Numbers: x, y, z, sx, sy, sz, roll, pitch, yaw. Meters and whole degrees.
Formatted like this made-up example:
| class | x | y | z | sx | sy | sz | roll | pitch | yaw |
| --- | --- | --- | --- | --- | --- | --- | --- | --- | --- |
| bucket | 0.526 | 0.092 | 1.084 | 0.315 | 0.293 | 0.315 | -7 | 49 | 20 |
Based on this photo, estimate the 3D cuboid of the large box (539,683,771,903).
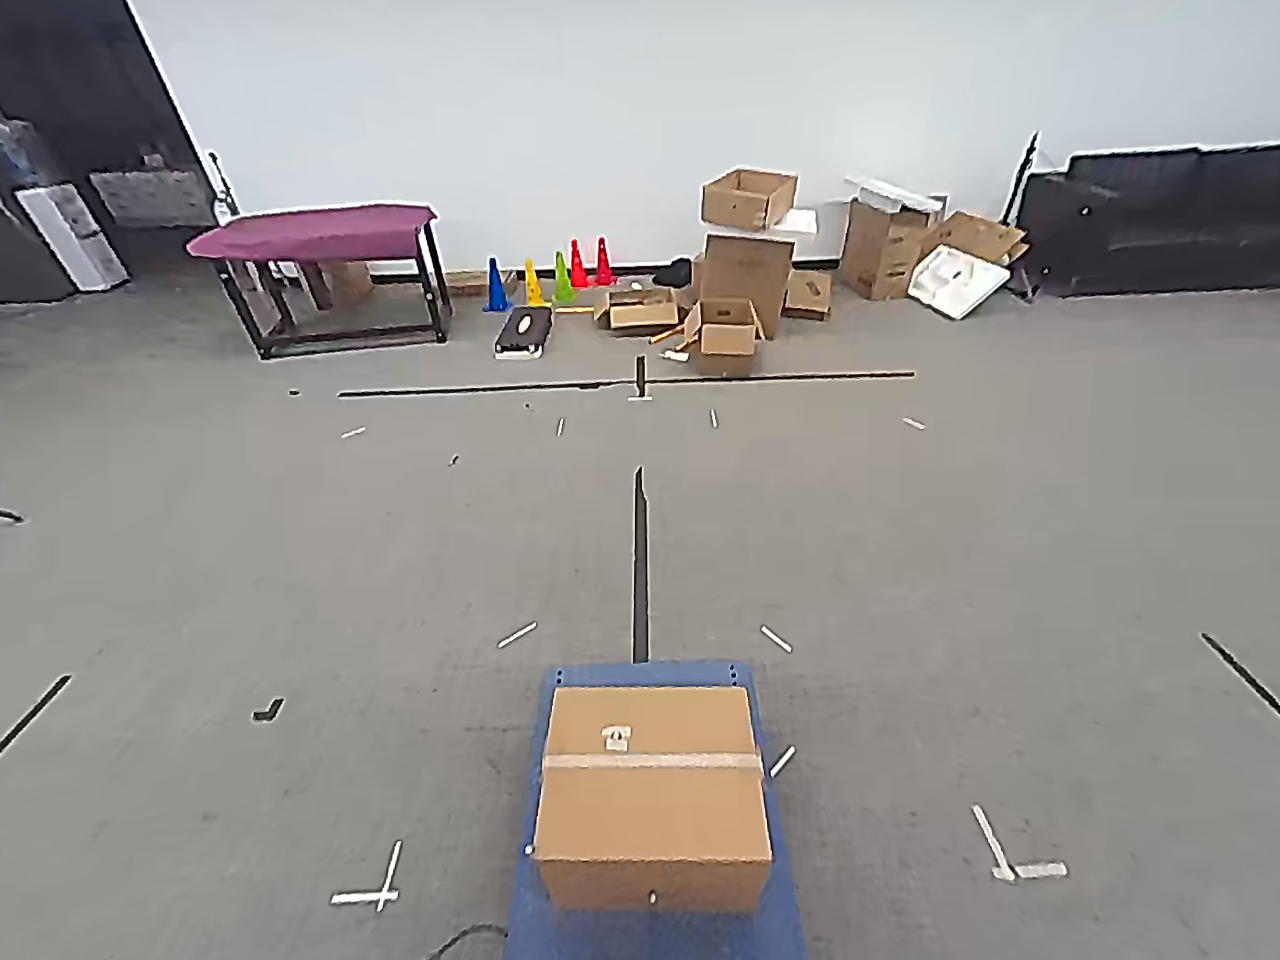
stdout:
| class | x | y | z | sx | sy | sz | roll | pitch | yaw |
| --- | --- | --- | --- | --- | --- | --- | --- | --- | --- |
| large box | 0.031 | 0.651 | 1.126 | 0.408 | 0.320 | 0.320 | -2 | 38 | 2 |
